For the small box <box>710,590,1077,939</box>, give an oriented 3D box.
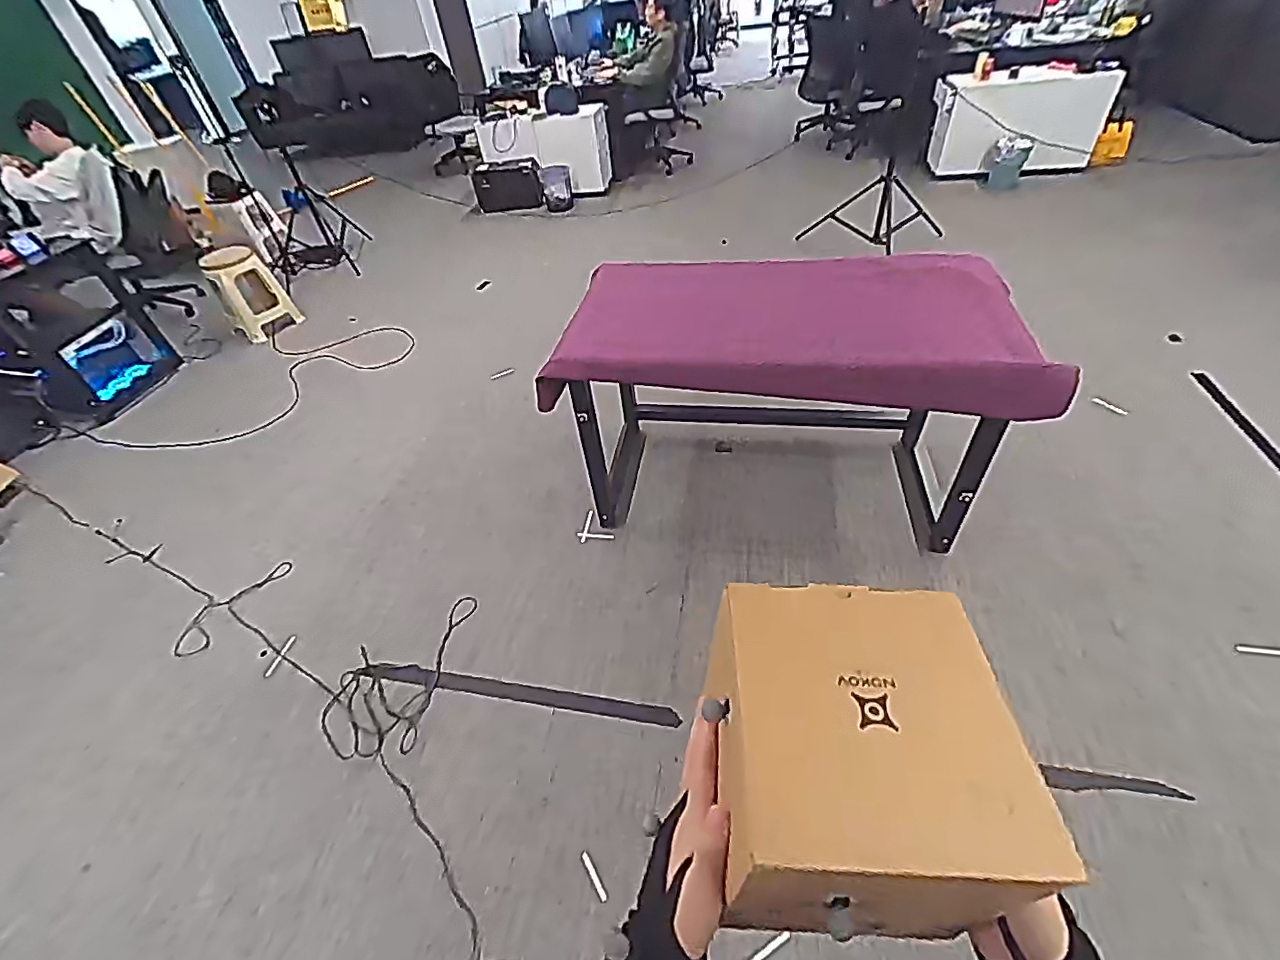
[{"bbox_3d":[0.142,0.201,0.386,0.168,0.176,0.179,2,41,1],"label":"small box"}]
